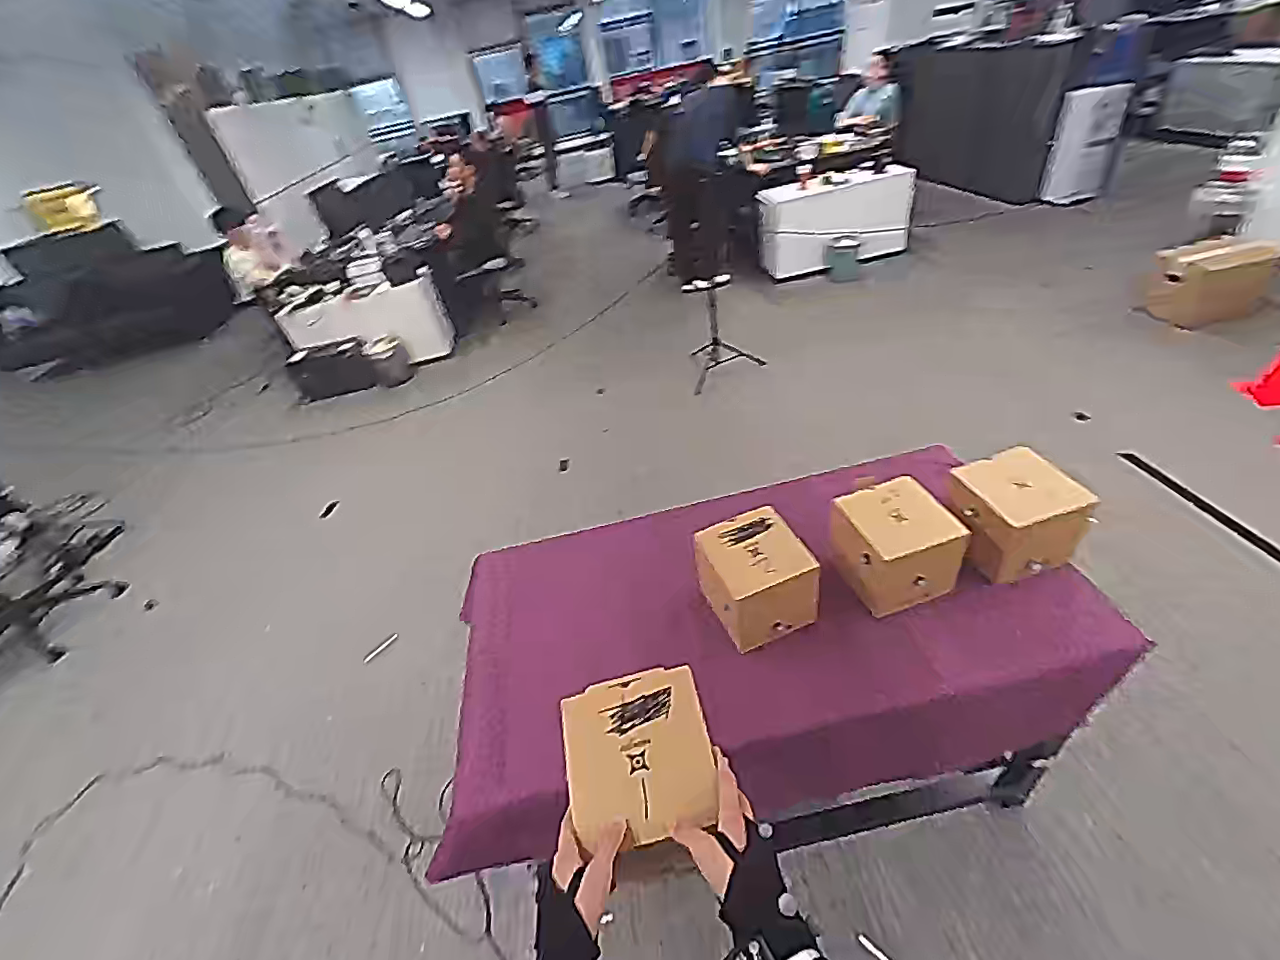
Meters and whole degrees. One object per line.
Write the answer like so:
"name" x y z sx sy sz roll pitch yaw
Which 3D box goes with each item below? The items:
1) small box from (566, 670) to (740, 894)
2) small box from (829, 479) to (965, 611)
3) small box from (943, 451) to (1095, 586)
"small box" 0.016 0.367 0.659 0.168 0.176 0.179 -16 43 0
"small box" 0.487 0.132 1.051 0.168 0.176 0.179 -17 38 -6
"small box" 0.719 0.075 1.058 0.168 0.176 0.179 -17 38 -3
